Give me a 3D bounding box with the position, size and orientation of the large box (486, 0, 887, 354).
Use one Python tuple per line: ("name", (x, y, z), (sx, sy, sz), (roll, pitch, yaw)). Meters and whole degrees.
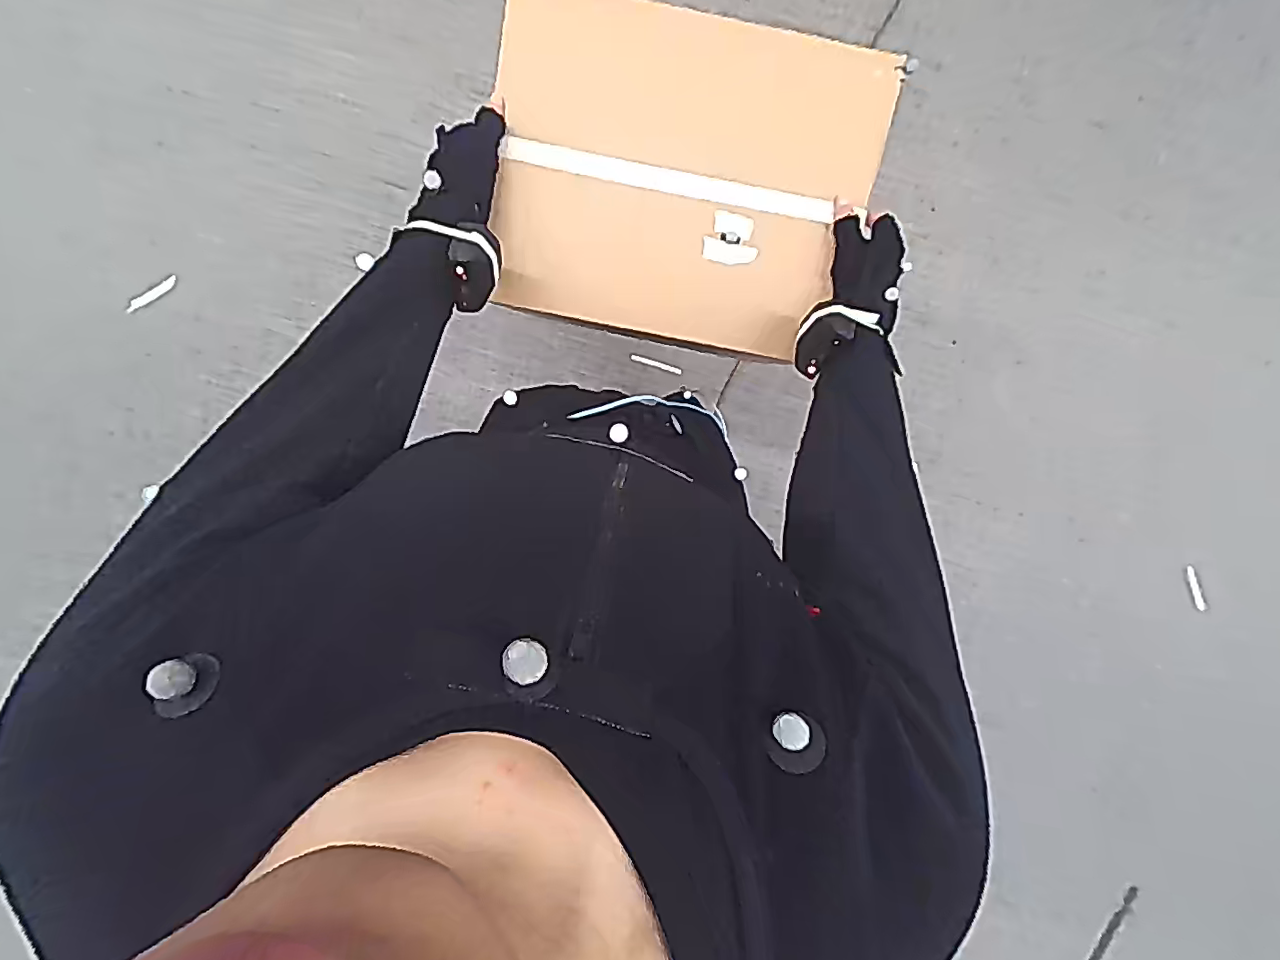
("large box", (0.039, -0.359, 0.738), (0.408, 0.320, 0.320), (10, 104, -3))
